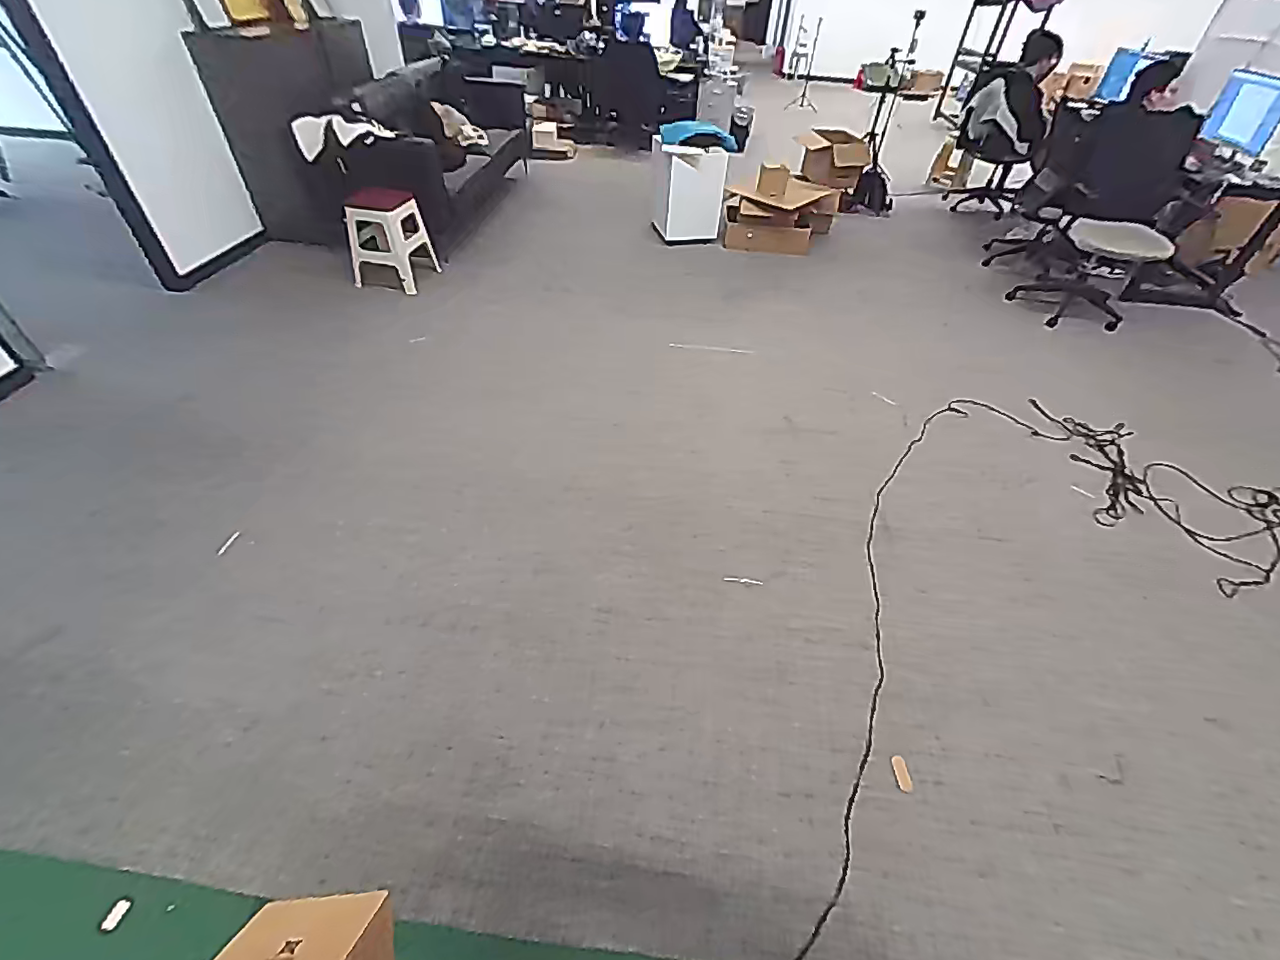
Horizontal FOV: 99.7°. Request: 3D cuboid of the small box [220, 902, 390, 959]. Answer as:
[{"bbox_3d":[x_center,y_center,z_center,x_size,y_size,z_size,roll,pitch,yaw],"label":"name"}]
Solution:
[{"bbox_3d":[-0.407,0.641,0.625,0.168,0.179,0.176,-5,87,0],"label":"small box"}]
